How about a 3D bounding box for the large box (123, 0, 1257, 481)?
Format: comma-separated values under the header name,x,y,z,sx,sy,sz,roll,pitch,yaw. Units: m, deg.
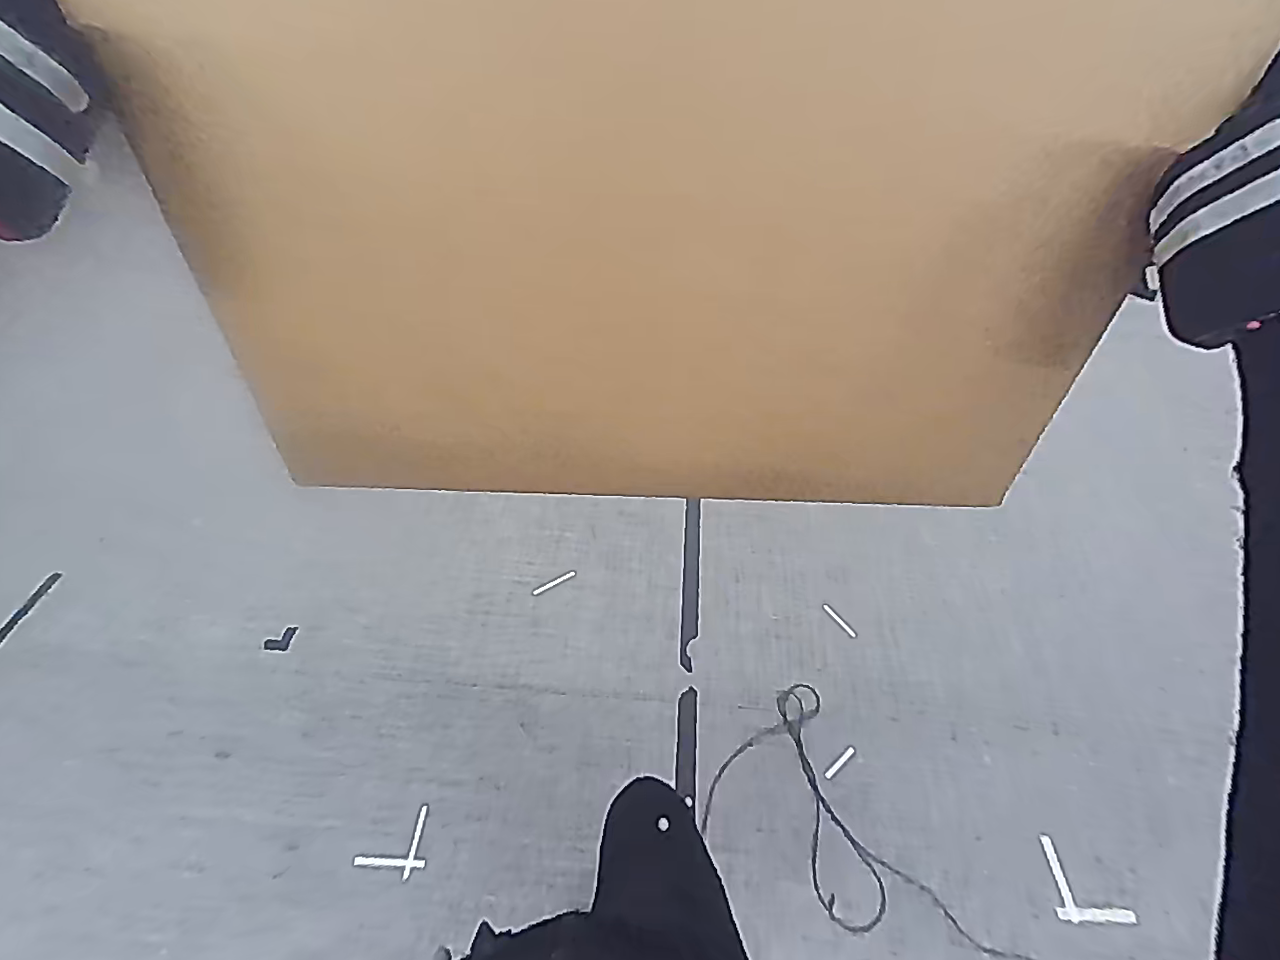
name,x,y,z,sx,sy,sz,roll,pitch,yaw
large box,0.014,-0.213,0.336,0.408,0.320,0.320,3,40,-2
